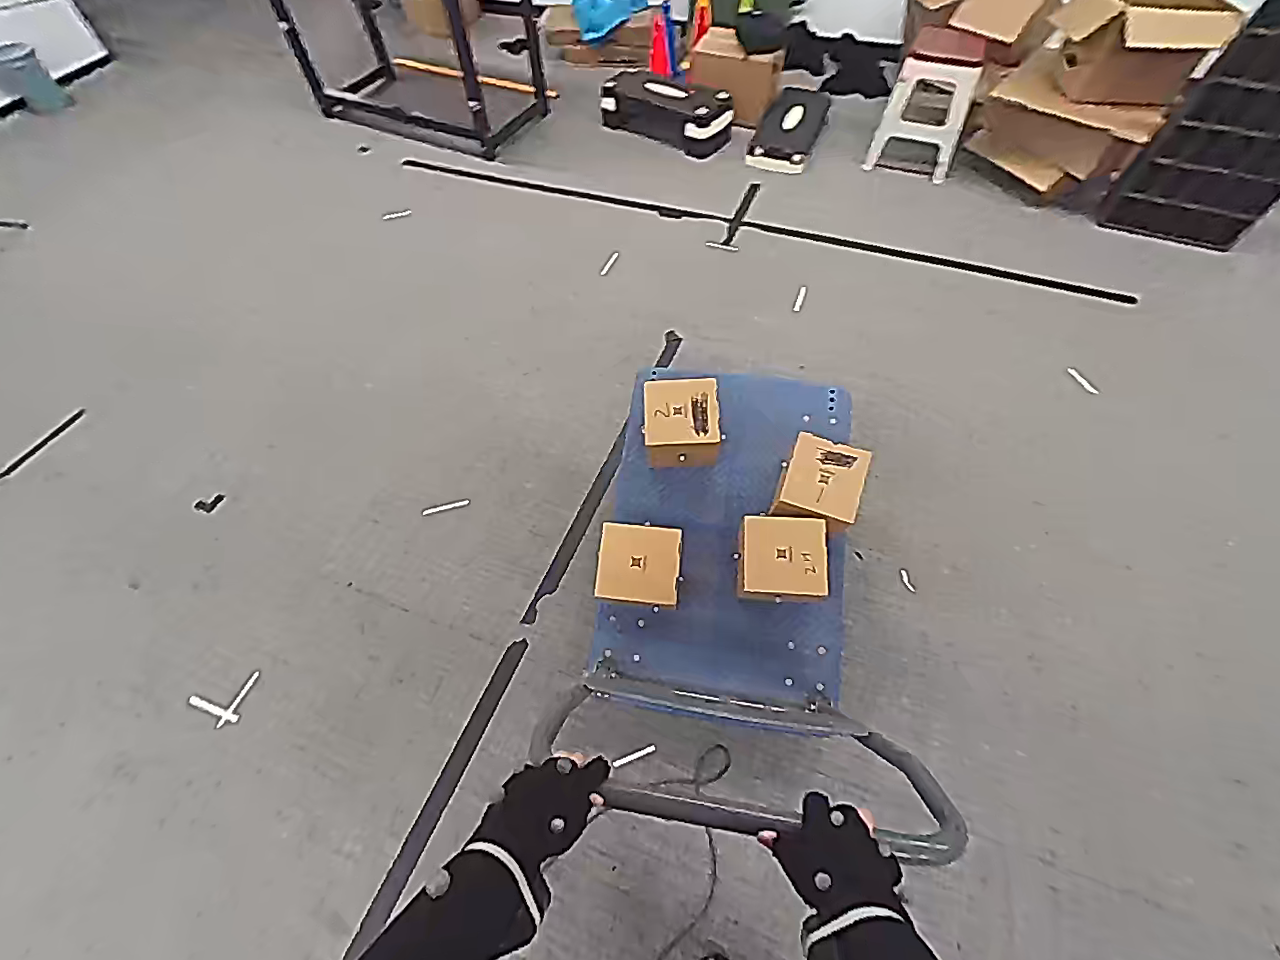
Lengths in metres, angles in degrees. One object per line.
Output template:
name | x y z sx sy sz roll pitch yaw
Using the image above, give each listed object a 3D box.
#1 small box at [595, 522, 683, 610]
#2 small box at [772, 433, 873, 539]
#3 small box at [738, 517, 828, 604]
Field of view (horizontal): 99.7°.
small box | 0.003 0.204 1.244 0.179 0.176 0.168 5 73 4
small box | 0.420 0.020 1.268 0.168 0.176 0.179 19 75 11
small box | 0.316 0.186 1.223 0.179 0.176 0.168 3 73 6
